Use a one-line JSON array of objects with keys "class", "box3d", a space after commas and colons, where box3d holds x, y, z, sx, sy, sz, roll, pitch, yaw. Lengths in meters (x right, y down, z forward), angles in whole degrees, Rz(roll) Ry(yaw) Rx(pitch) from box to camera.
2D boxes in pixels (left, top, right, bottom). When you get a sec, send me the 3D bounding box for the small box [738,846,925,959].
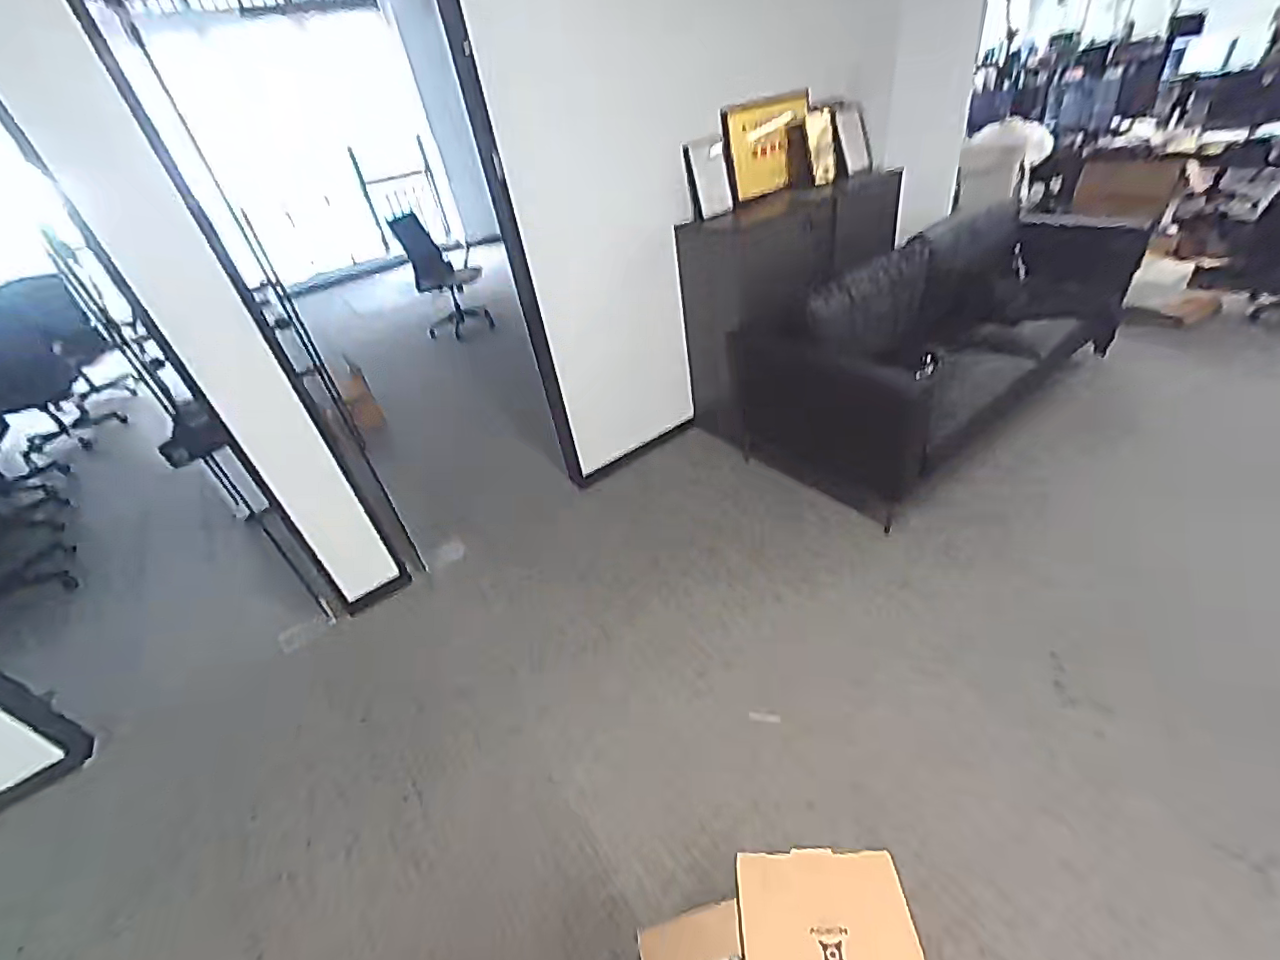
[{"class": "small box", "box3d": [0.189, 0.509, 0.548, 0.168, 0.176, 0.179, -4, 29, 6]}]
